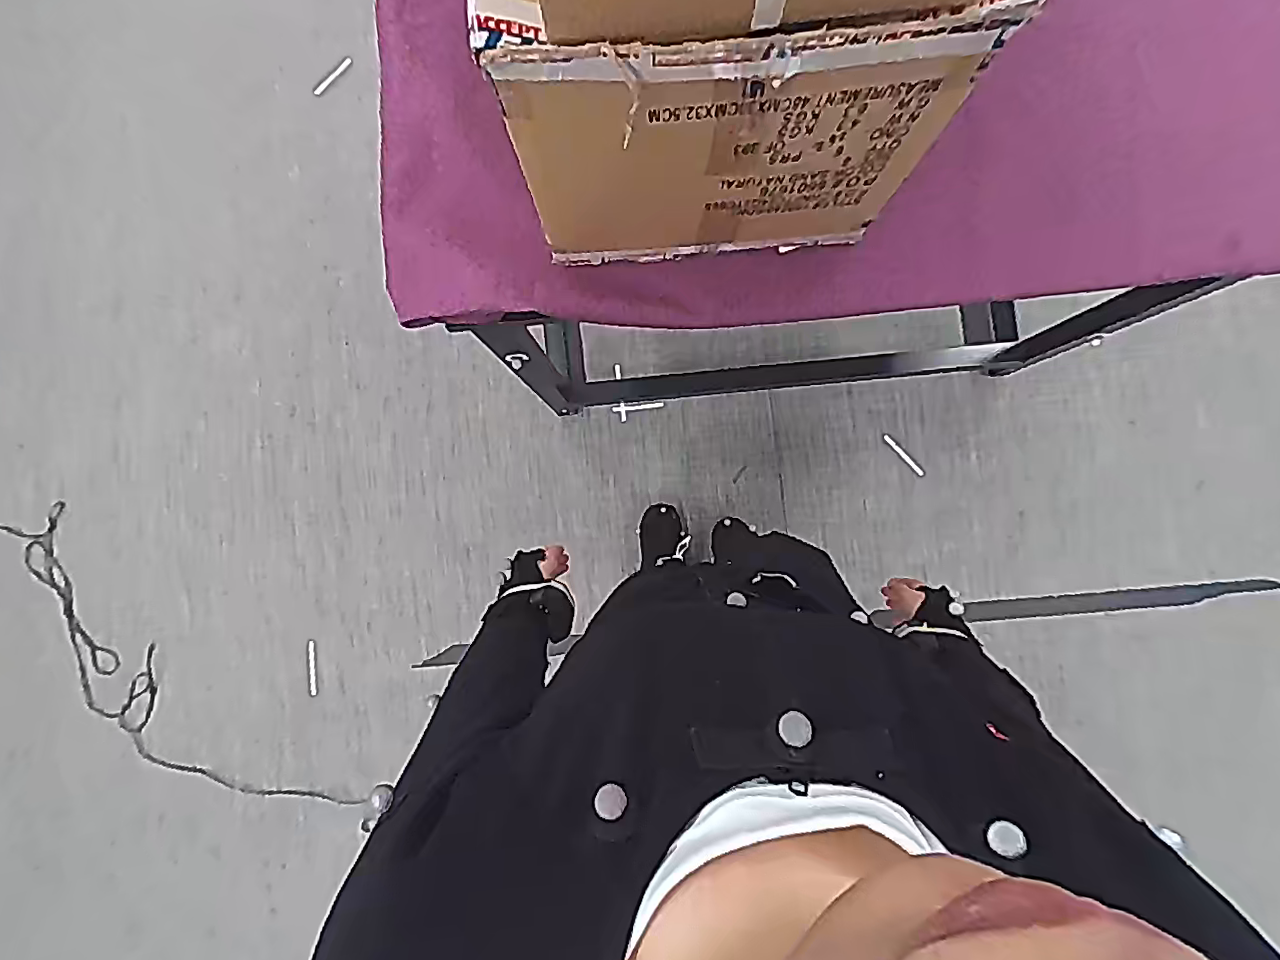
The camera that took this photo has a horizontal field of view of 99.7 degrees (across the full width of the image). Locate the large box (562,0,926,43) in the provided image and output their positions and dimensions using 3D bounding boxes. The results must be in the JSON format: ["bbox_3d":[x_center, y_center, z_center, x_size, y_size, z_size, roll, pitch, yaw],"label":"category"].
[{"bbox_3d":[0.074,-0.528,0.243,0.320,0.320,0.408,-6,87,2],"label":"large box"}]
